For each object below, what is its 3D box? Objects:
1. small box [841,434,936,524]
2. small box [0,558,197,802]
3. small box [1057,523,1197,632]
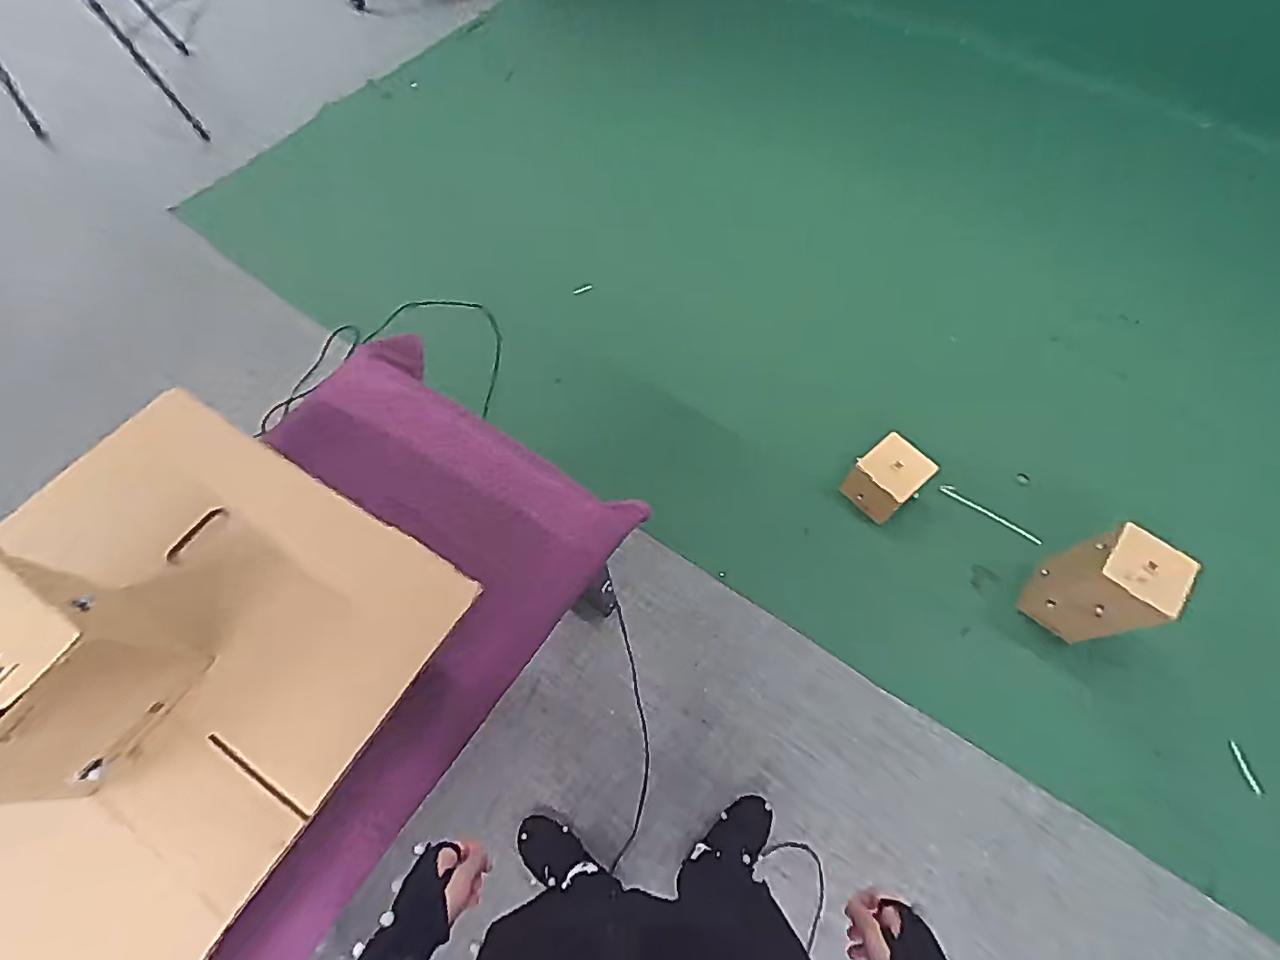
[{"bbox_3d":[0.740,0.001,1.634,0.179,0.176,0.168,-38,69,-15],"label":"small box"},{"bbox_3d":[-0.623,0.202,0.552,0.179,0.176,0.168,28,66,14],"label":"small box"},{"bbox_3d":[1.176,0.242,1.320,0.168,0.176,0.179,38,70,18],"label":"small box"}]
